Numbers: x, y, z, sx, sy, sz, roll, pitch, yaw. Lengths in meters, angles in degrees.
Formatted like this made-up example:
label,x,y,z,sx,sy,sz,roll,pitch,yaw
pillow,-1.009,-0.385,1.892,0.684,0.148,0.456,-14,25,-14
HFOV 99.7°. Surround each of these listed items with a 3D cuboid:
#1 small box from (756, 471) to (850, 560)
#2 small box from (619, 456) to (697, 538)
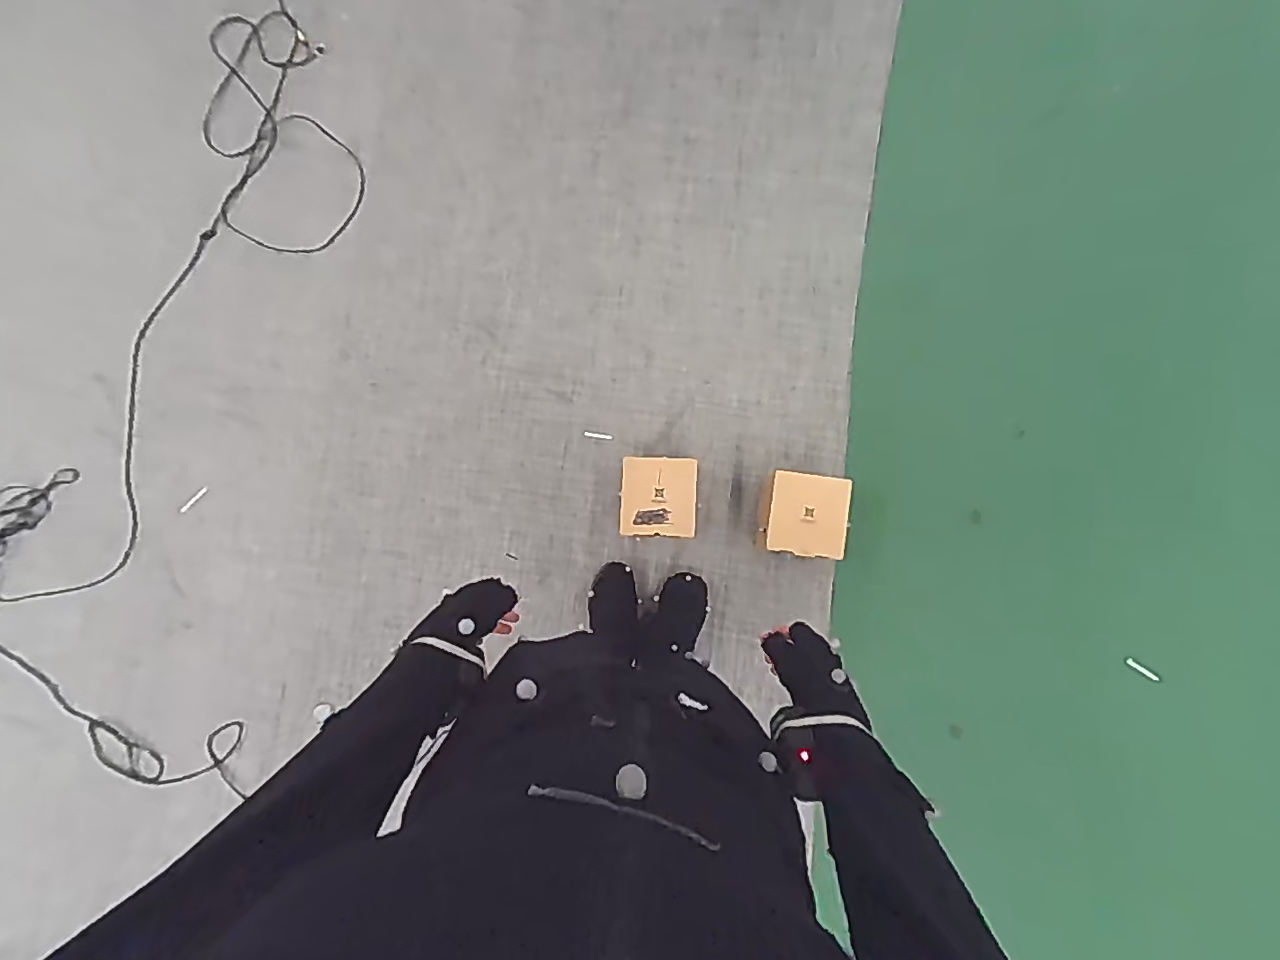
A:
label,x,y,z,sx,sy,sz,roll,pitch,yaw
small box,0.367,0.083,1.245,0.168,0.176,0.179,8,85,5
small box,0.047,0.044,1.269,0.168,0.176,0.179,3,84,4
